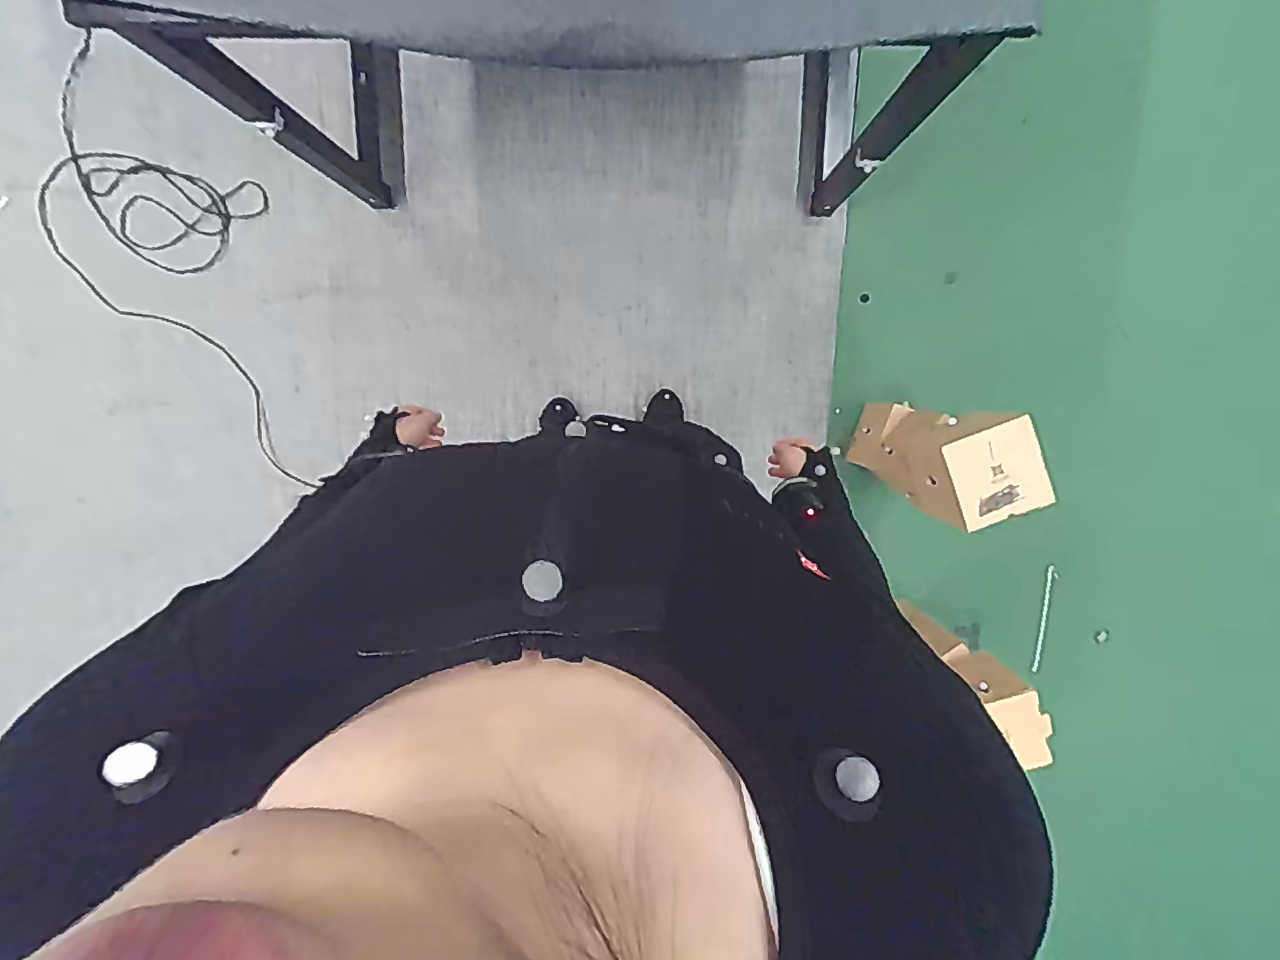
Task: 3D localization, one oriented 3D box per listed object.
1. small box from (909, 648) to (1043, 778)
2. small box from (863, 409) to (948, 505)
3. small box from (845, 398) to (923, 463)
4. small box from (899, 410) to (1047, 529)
[{"bbox_3d":[0.696,0.484,1.145,0.179,0.176,0.168,-17,99,3],"label":"small box"},{"bbox_3d":[0.645,-0.047,1.226,0.179,0.176,0.168,38,99,-6],"label":"small box"},{"bbox_3d":[0.653,-0.105,1.380,0.179,0.176,0.168,18,100,-3],"label":"small box"},{"bbox_3d":[0.644,-0.029,1.062,0.168,0.176,0.179,-21,98,5],"label":"small box"}]
